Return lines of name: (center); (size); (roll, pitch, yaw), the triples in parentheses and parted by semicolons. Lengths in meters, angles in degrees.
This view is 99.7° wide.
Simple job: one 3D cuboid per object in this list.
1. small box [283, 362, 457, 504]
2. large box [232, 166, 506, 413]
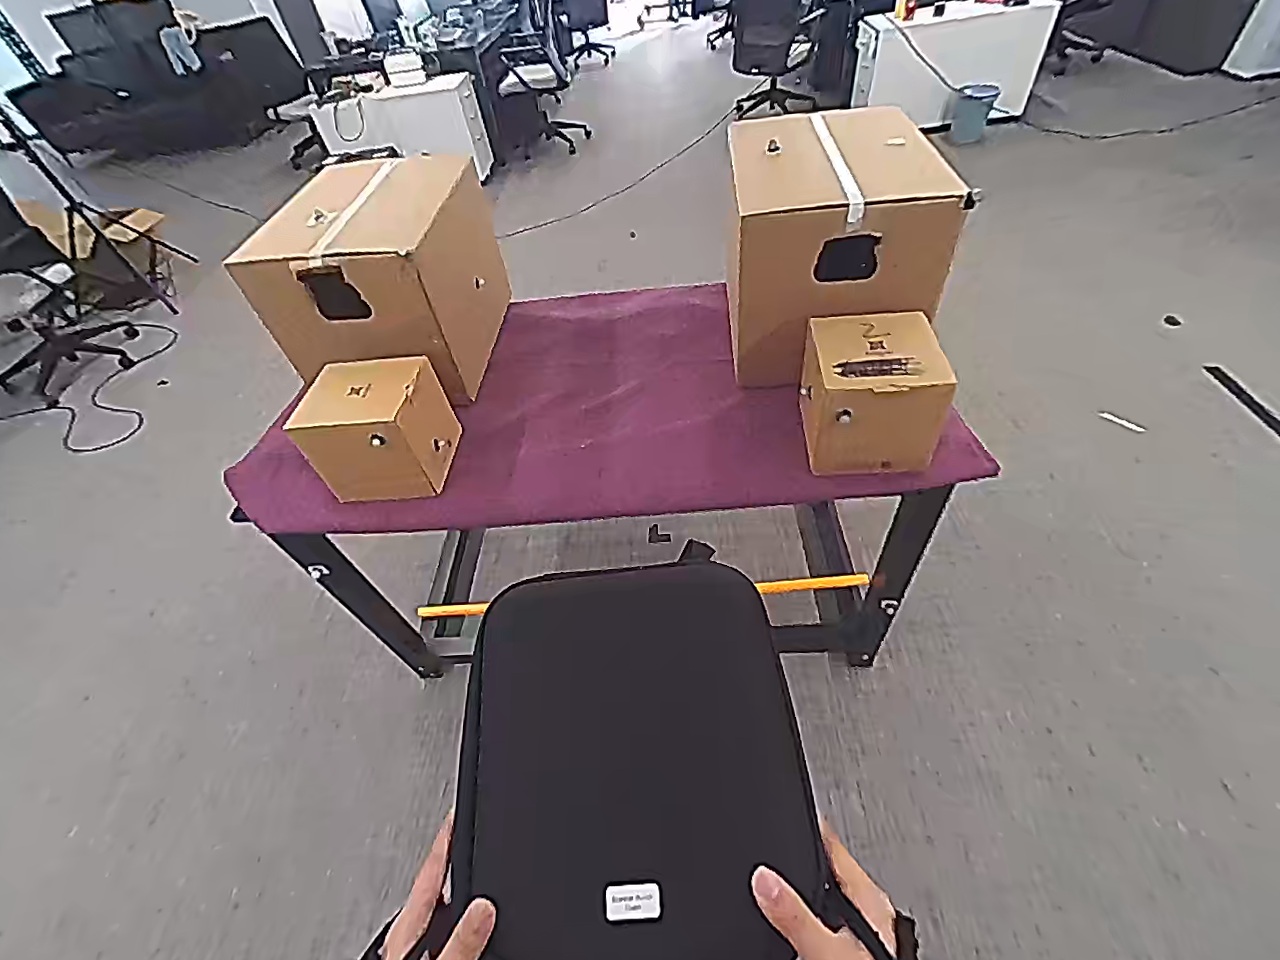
small box: (-0.432, -0.073, 0.899); (0.179, 0.176, 0.168); (-4, 47, 4)
large box: (-0.483, -0.375, 1.081); (0.320, 0.320, 0.408); (-3, 51, 5)
